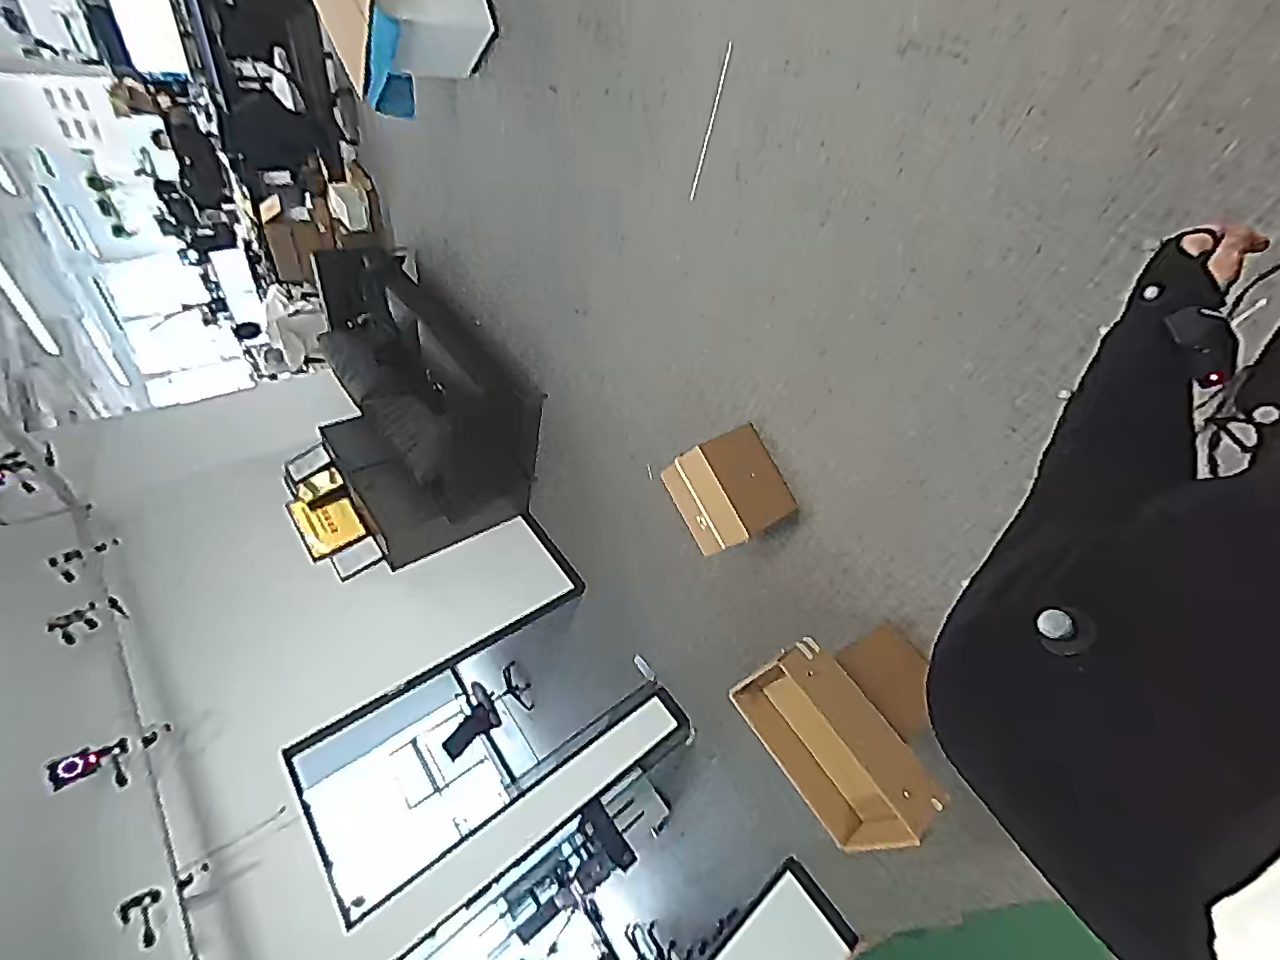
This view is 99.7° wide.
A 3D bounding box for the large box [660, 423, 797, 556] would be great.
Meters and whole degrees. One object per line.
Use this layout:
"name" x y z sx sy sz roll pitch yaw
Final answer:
"large box" 0.360 0.037 2.217 0.408 0.320 0.320 60 147 6
